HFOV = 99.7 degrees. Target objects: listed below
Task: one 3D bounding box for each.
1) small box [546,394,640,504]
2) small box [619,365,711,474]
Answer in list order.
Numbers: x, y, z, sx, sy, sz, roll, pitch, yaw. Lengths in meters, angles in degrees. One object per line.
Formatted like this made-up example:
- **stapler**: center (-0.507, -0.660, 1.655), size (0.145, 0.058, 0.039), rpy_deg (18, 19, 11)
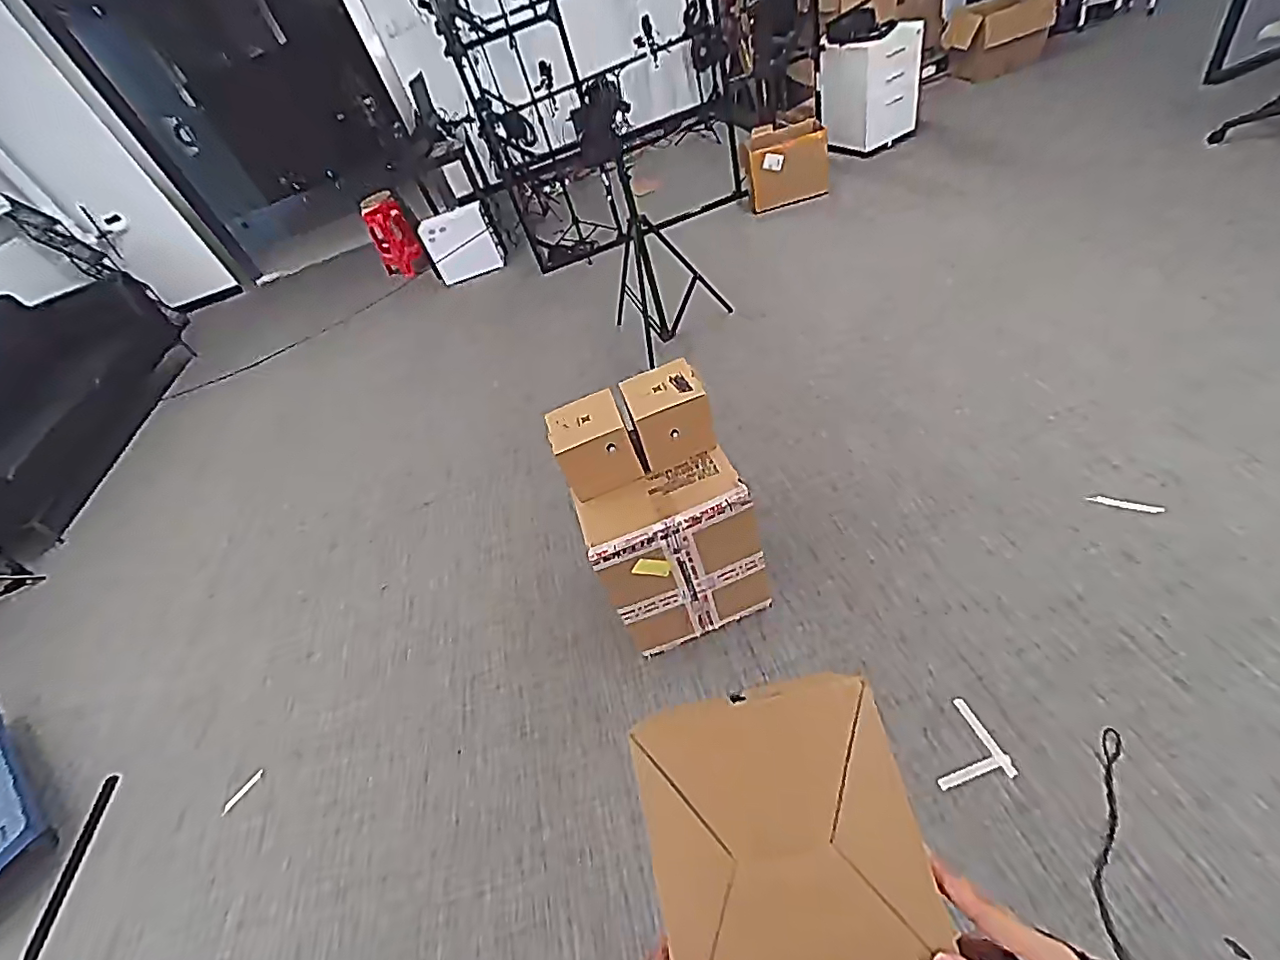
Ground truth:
- **small box**: center (-0.110, -0.073, 1.322), size (0.179, 0.176, 0.168), rpy_deg (-23, 44, 2)
- **small box**: center (0.066, -0.146, 1.326), size (0.179, 0.176, 0.168), rpy_deg (-21, 44, -1)
